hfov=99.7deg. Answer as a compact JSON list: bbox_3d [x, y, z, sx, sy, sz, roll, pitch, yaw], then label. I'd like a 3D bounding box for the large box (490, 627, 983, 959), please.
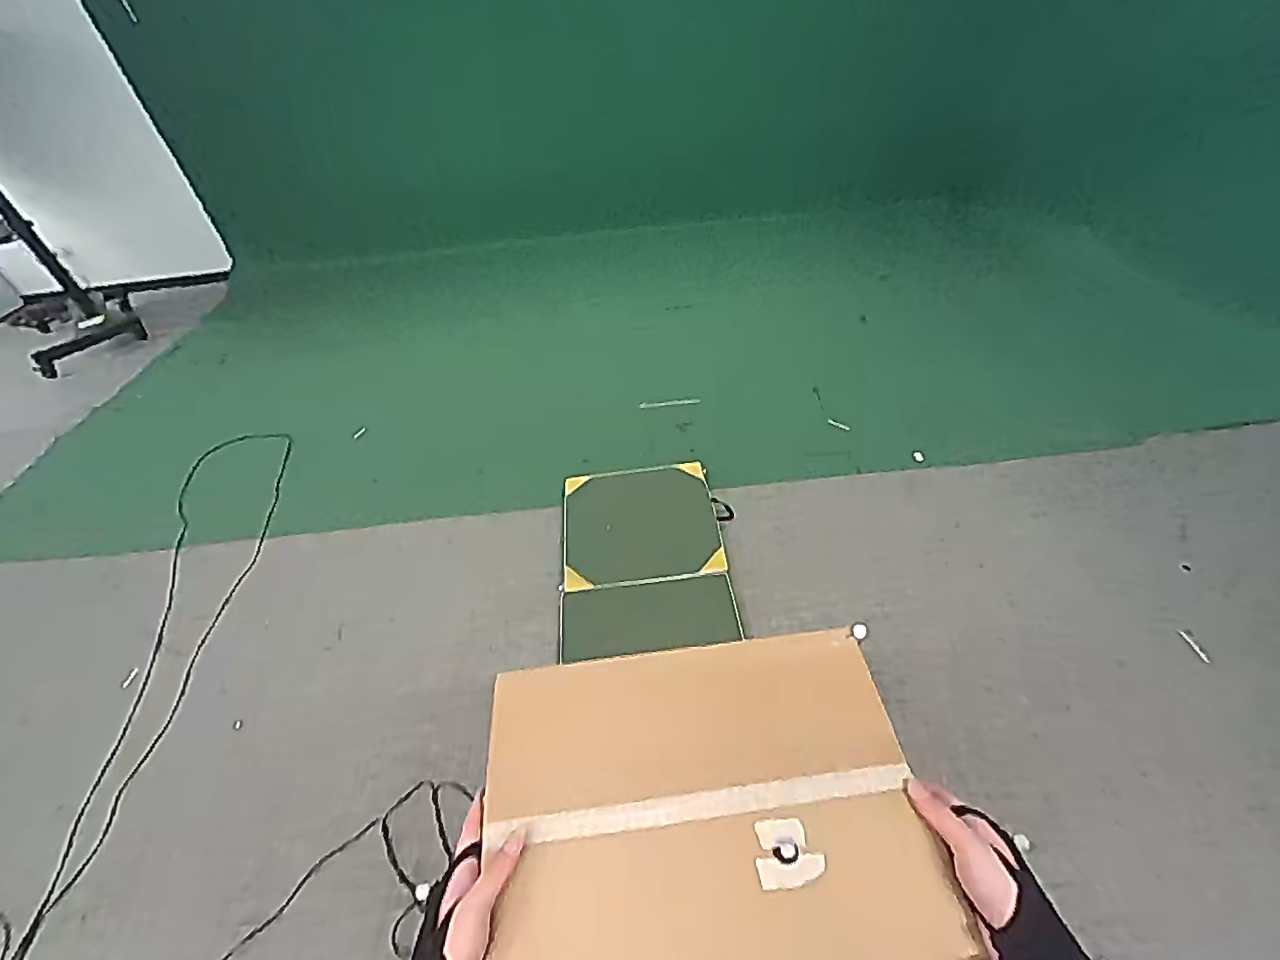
[{"bbox_3d":[0.067,0.410,0.625,0.408,0.320,0.320,-7,47,-2],"label":"large box"}]
